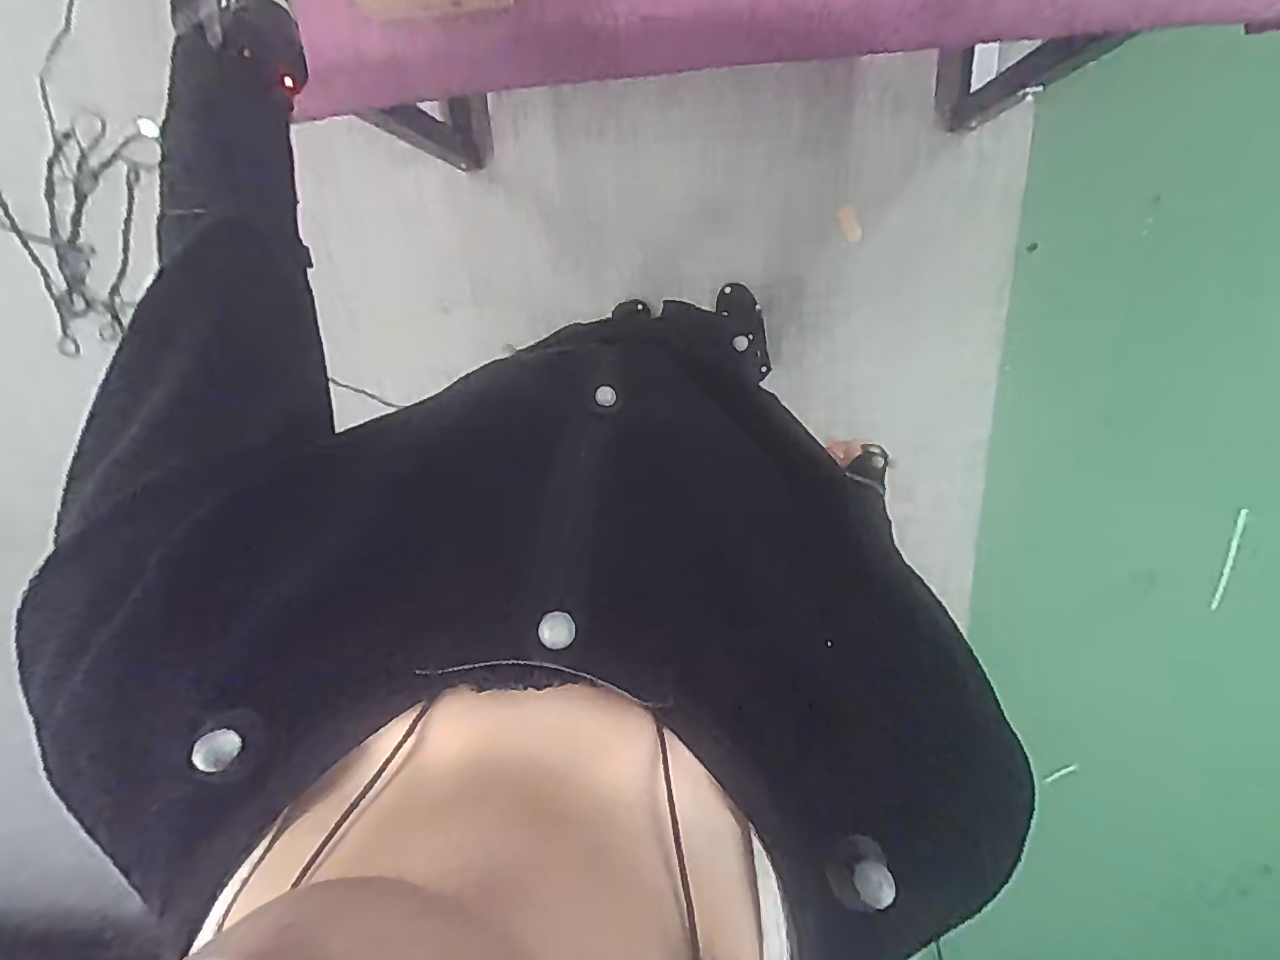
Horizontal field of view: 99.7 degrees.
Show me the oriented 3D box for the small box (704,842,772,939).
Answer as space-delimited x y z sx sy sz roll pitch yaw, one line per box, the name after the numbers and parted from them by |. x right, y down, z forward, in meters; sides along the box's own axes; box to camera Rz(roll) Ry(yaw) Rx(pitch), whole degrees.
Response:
0.298 1.261 1.665 0.168 0.176 0.179 -15 106 10 | small box

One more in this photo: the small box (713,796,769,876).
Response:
0.333 1.197 1.814 0.168 0.176 0.179 2 109 5 | small box
